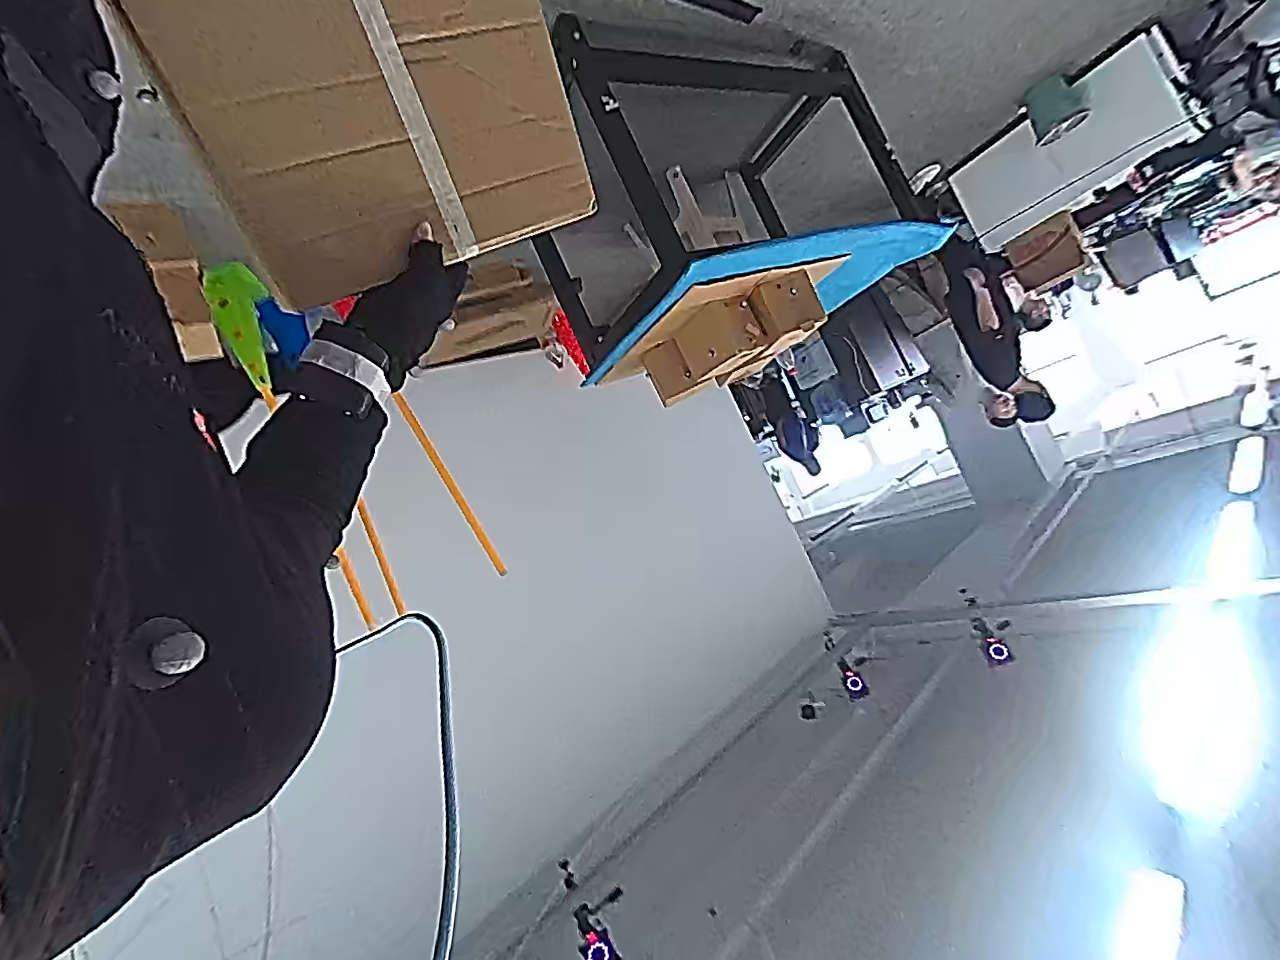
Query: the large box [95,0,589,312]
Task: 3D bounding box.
[{"bbox_3d":[-0.311,-0.419,0.545,0.320,0.408,0.320,-31,-150,-22],"label":"large box"}]
